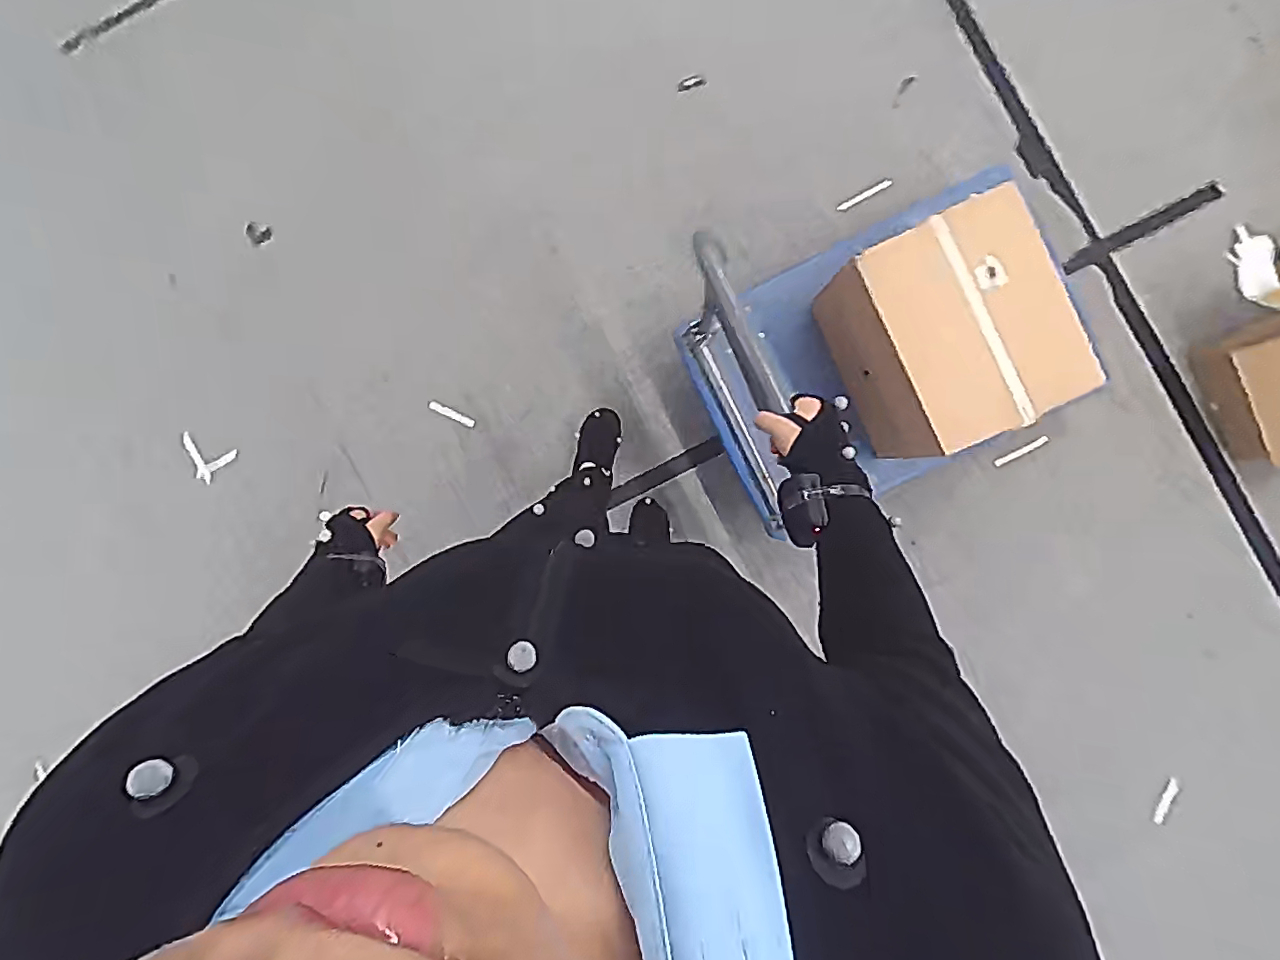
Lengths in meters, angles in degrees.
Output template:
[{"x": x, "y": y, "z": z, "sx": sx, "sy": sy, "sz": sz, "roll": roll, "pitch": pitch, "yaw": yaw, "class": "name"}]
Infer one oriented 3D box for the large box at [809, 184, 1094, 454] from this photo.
[{"x": 0.613, "y": -0.301, "z": 1.138, "sx": 0.320, "sy": 0.320, "sz": 0.408, "roll": -25, "pitch": 89, "yaw": 2, "class": "large box"}]
